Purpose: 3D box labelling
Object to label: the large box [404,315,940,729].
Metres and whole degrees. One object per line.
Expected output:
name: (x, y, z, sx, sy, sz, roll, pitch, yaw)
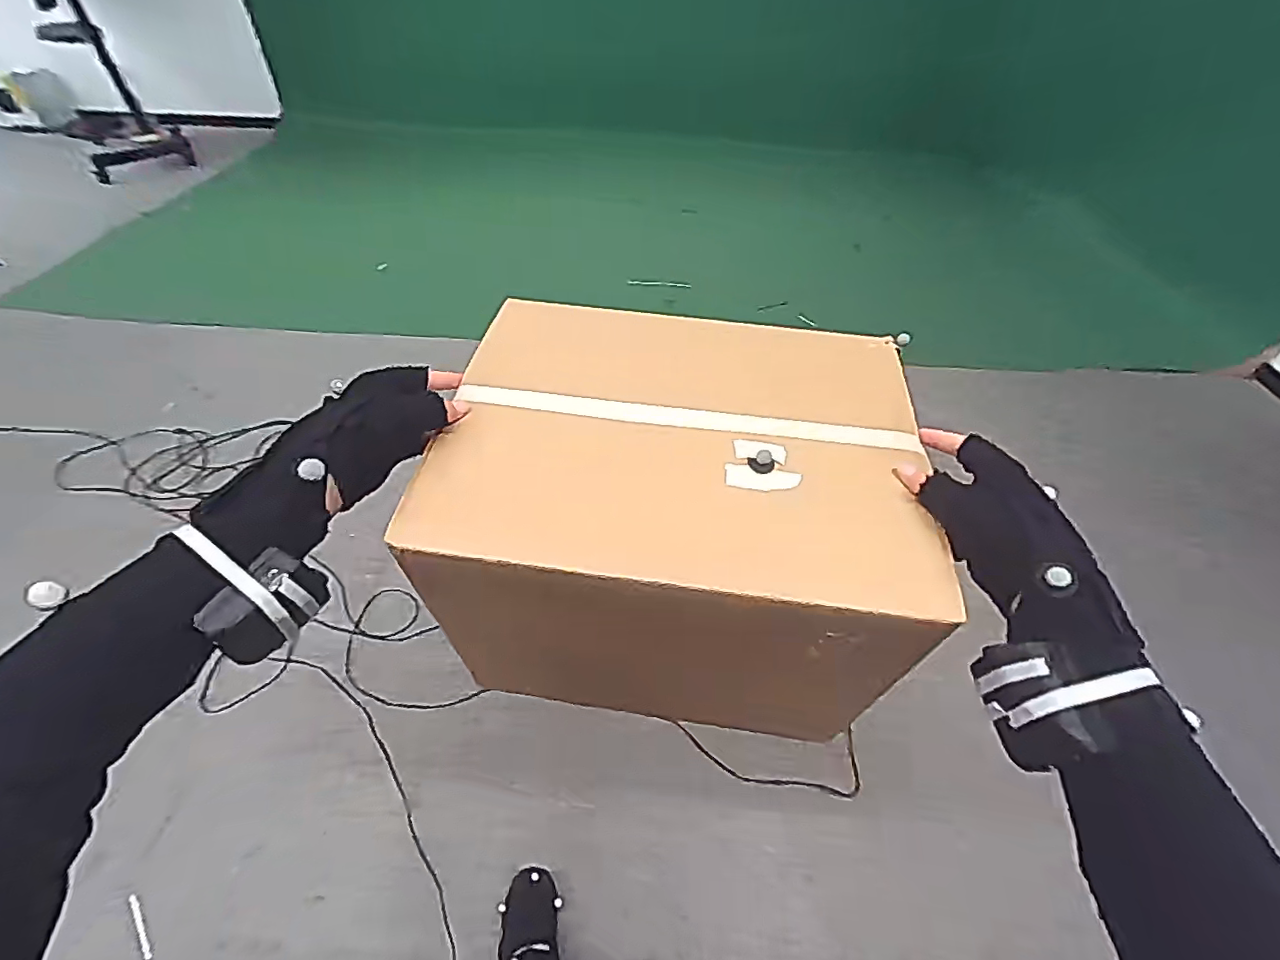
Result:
large box: (0.029, 0.050, 0.600, 0.408, 0.320, 0.320, 7, 51, 3)
